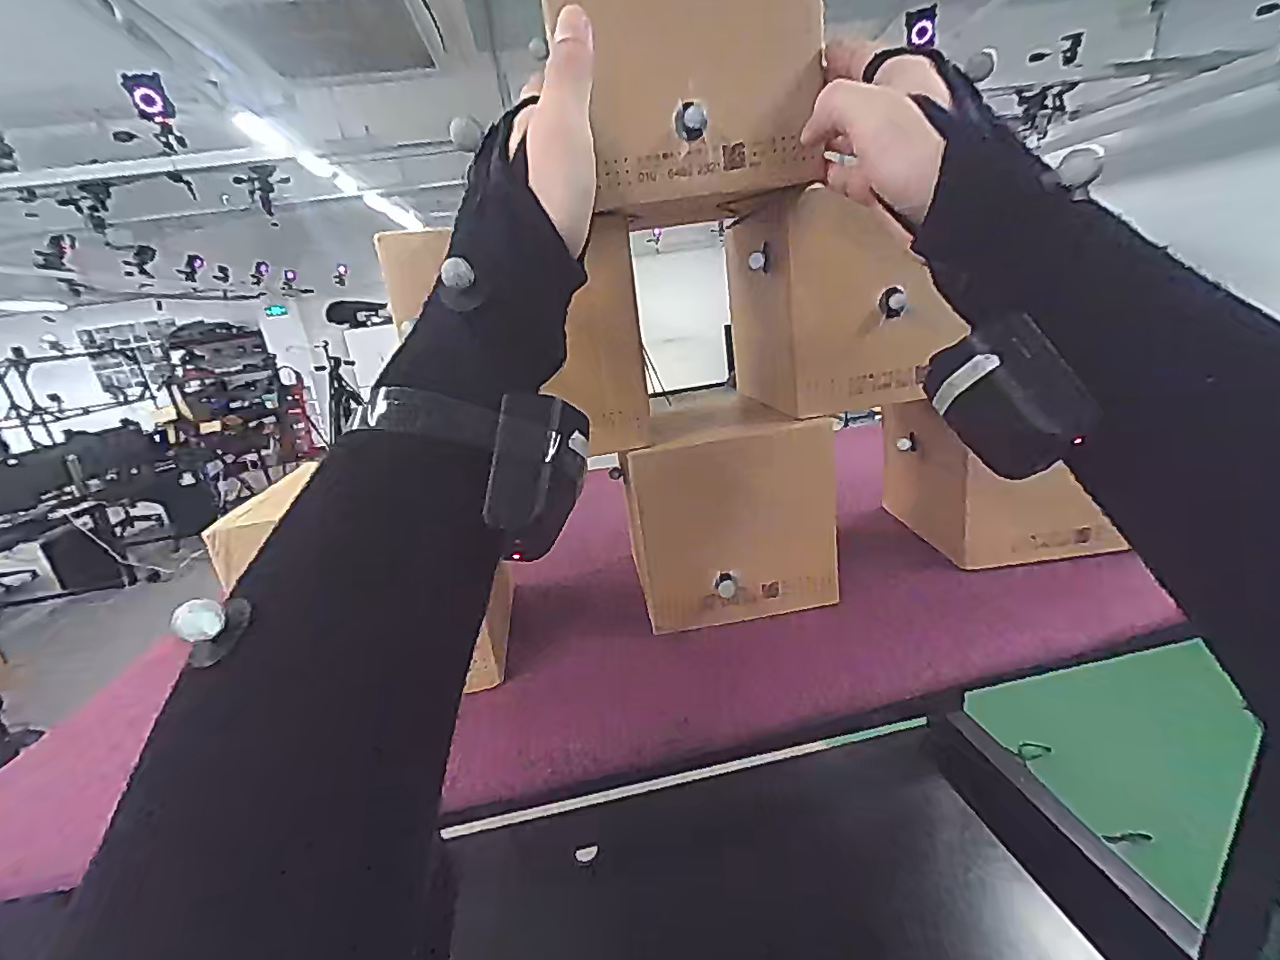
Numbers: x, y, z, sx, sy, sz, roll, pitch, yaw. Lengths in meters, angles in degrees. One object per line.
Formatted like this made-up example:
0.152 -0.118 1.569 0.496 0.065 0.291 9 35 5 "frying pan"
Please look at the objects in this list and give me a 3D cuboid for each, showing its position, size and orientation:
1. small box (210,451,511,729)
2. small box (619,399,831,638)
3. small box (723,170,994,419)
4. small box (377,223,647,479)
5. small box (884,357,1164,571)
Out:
-0.212 0.077 0.470 0.168 0.176 0.179 -10 18 -7 "small box"
0.070 0.025 0.521 0.168 0.176 0.179 -10 18 -3 "small box"
0.183 -0.156 0.490 0.168 0.176 0.179 -10 17 -3 "small box"
-0.098 -0.103 0.458 0.168 0.176 0.179 -11 17 -12 "small box"
0.359 -0.025 0.546 0.168 0.176 0.179 -9 16 2 "small box"
